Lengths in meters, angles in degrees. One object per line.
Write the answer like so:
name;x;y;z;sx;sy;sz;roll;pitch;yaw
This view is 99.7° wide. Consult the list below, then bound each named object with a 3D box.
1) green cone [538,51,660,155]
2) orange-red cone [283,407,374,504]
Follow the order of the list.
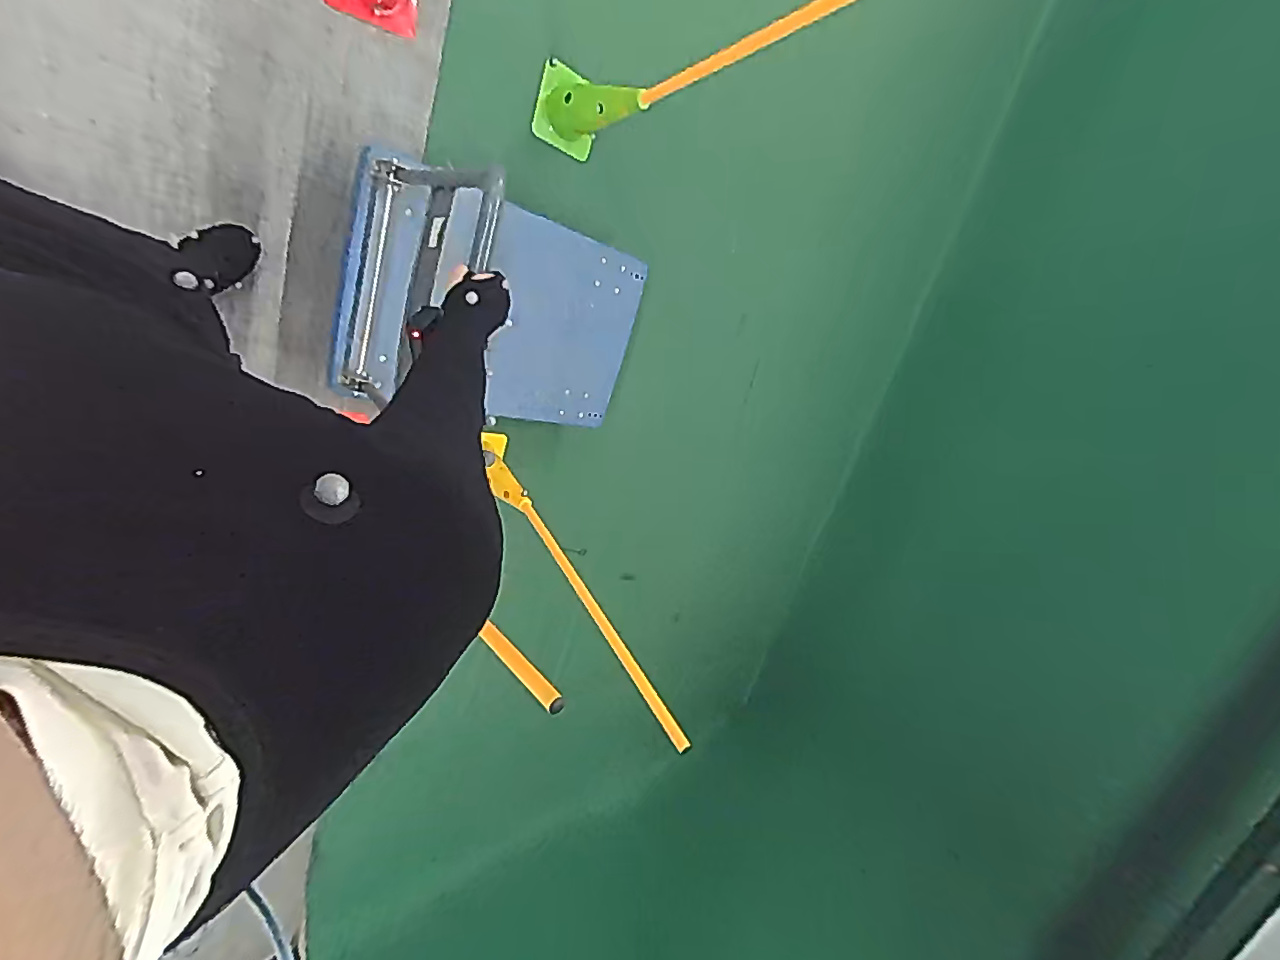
green cone;-0.085;-1.010;1.442;0.202;0.368;0.200;2;112;-45
orange-red cone;-0.761;-0.032;1.398;0.199;0.360;0.198;2;113;-46
